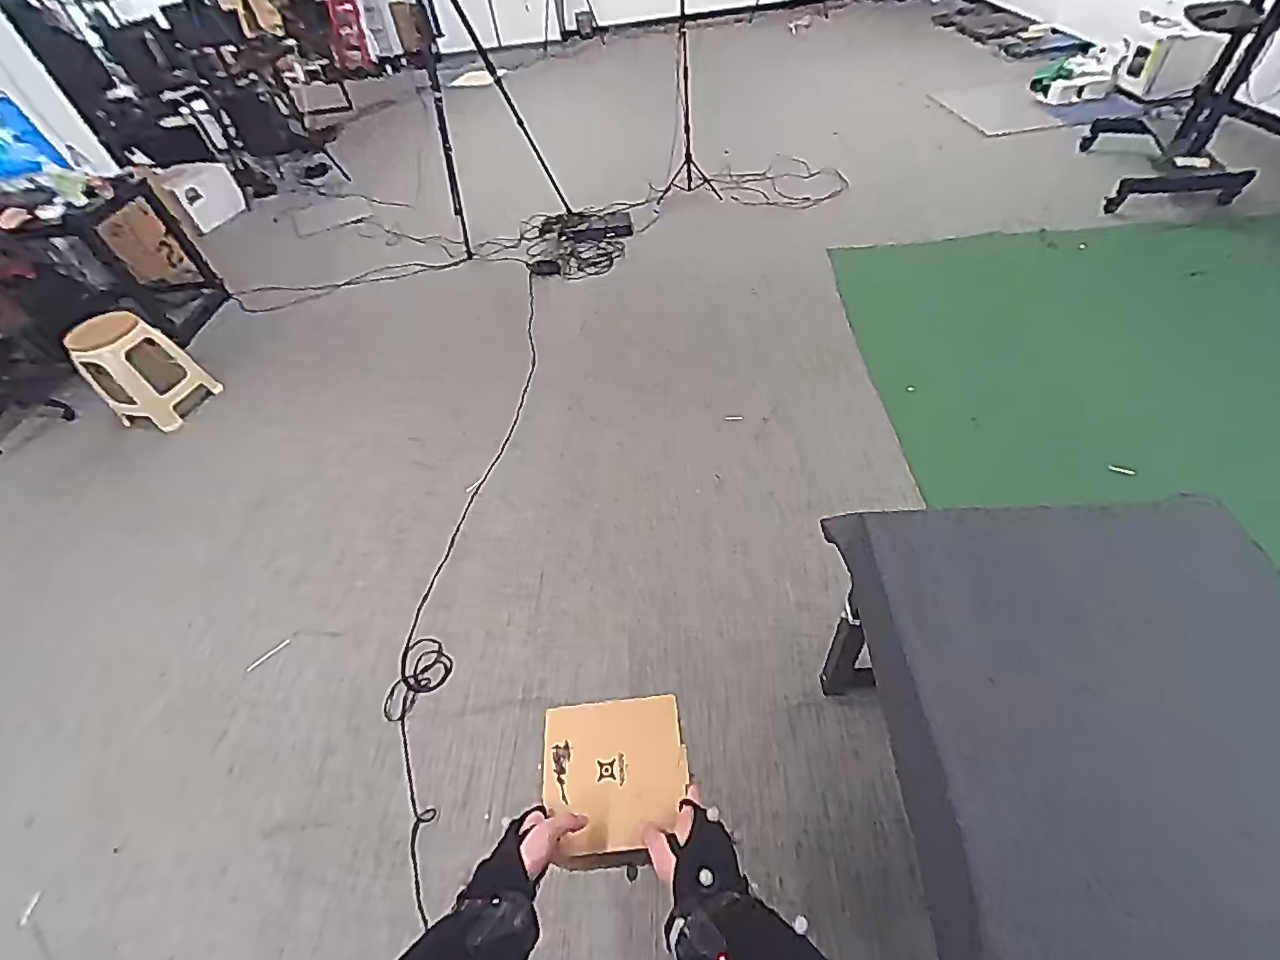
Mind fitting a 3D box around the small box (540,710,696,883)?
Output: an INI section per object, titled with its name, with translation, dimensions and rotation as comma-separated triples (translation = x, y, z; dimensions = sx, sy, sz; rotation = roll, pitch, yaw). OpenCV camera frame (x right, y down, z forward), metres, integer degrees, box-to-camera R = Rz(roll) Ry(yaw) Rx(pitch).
[small box]
translation = -0.022, 0.418, 0.710
dimensions = 0.179, 0.176, 0.168
rotation = -7, 49, 2
